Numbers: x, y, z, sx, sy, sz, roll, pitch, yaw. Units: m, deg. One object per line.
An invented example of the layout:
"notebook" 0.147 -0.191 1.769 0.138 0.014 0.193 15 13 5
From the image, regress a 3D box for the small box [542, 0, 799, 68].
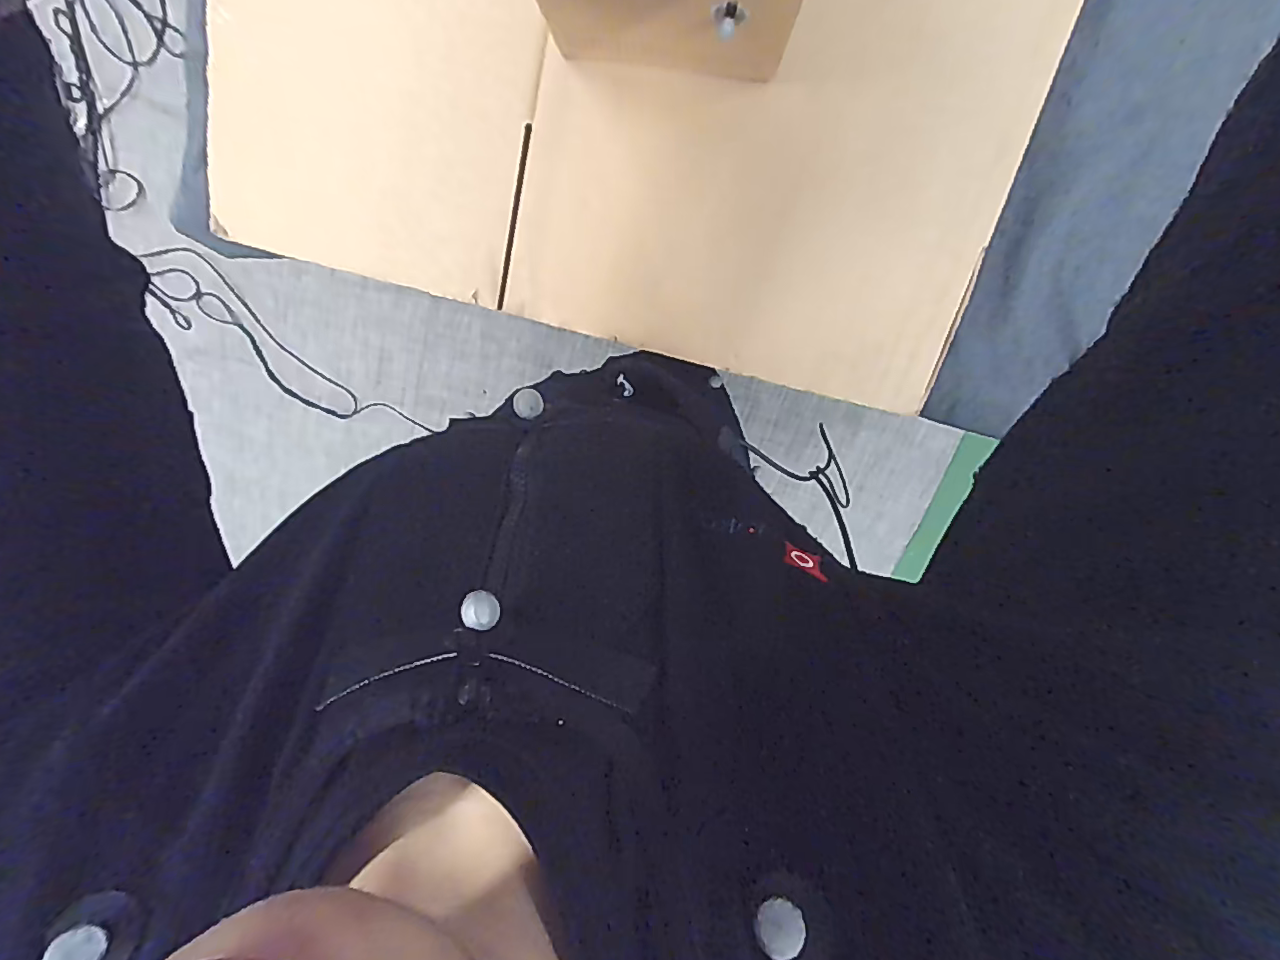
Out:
"small box" 0.026 -0.383 0.325 0.179 0.176 0.168 8 106 2
